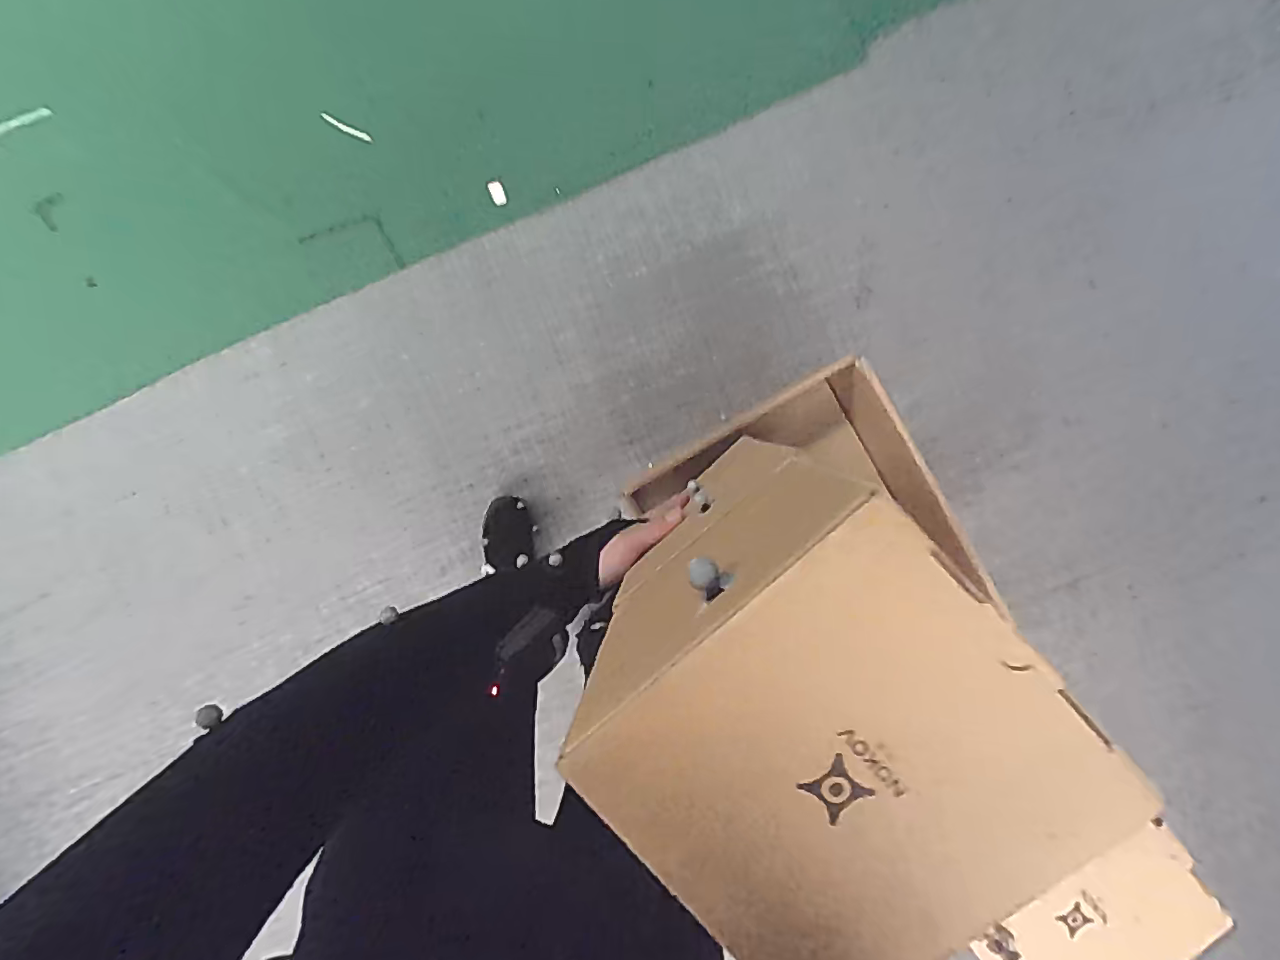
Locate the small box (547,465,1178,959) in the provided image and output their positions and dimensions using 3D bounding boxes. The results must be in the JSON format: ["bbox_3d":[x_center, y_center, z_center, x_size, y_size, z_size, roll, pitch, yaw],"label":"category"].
[{"bbox_3d":[0.085,0.109,0.283,0.179,0.176,0.168,-43,90,7],"label":"small box"}]
